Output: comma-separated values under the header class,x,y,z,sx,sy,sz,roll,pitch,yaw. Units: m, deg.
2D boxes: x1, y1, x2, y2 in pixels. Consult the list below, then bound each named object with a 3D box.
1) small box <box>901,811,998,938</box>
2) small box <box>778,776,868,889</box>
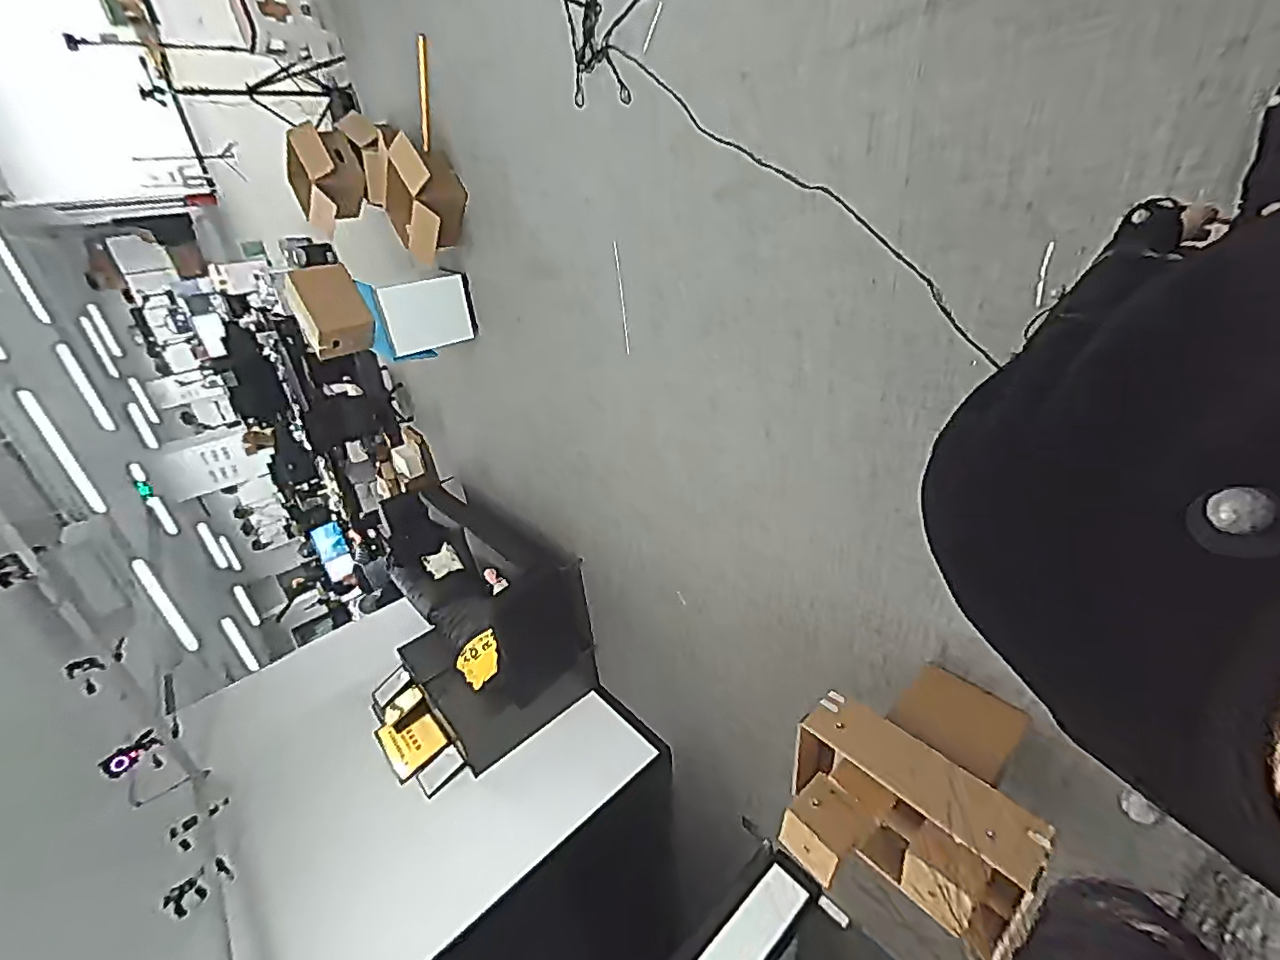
class,x,y,z,sx,sy,sz,roll,pitch,yaw
small box,0.823,1.041,1.439,0.168,0.176,0.179,22,128,45
small box,0.518,0.986,1.526,0.168,0.176,0.179,32,135,40
